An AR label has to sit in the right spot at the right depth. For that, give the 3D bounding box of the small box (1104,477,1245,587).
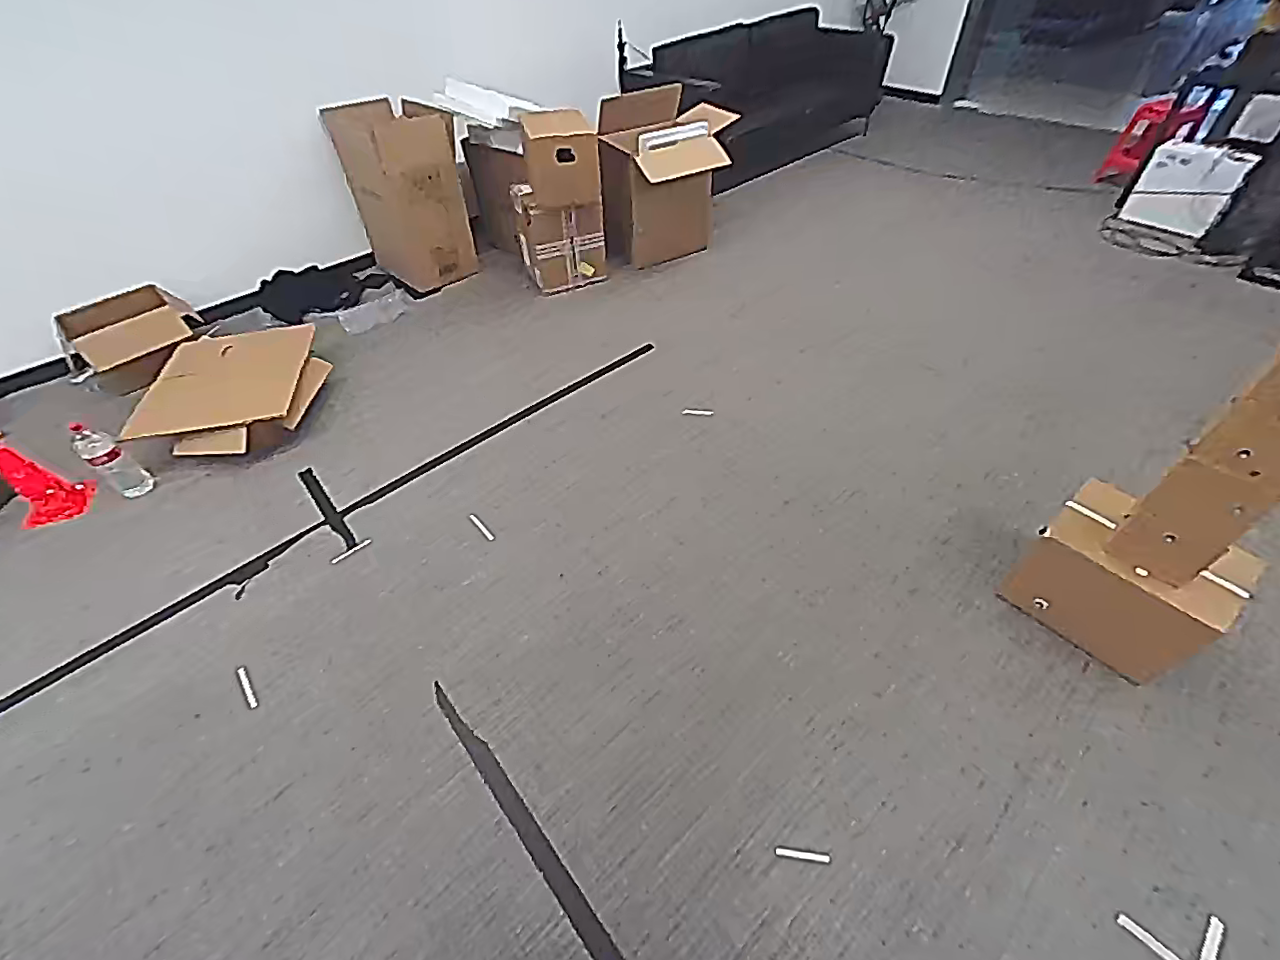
[{"bbox_3d":[1.312,0.131,1.340,0.168,0.176,0.179,-36,55,-25],"label":"small box"}]

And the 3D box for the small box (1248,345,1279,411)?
[{"bbox_3d":[1.295,-0.217,0.994,0.179,0.176,0.168,-36,54,-26],"label":"small box"}]

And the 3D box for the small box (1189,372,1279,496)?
[{"bbox_3d":[1.300,-0.103,1.112,0.179,0.176,0.168,-35,54,-25],"label":"small box"}]
